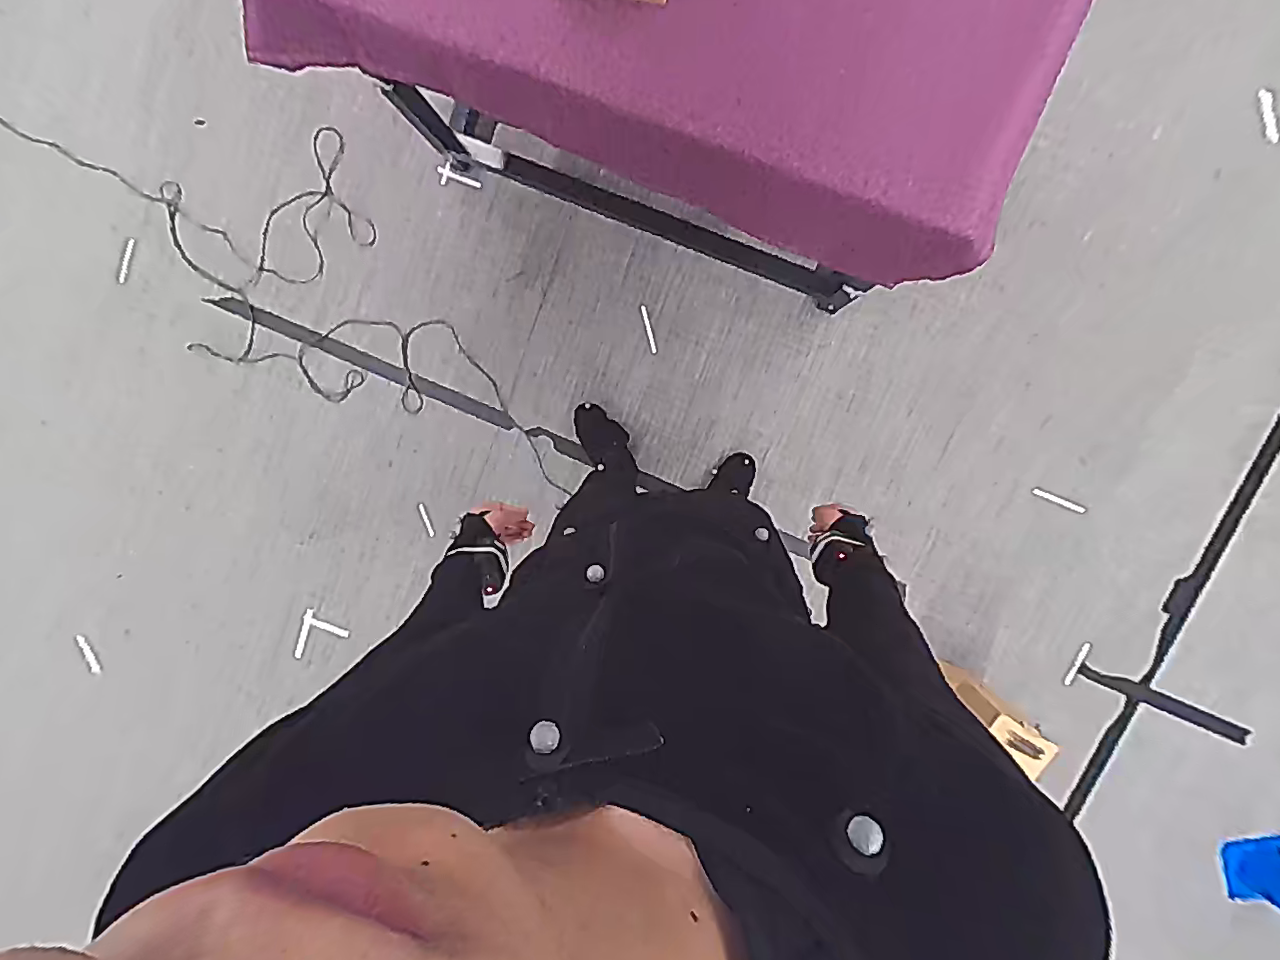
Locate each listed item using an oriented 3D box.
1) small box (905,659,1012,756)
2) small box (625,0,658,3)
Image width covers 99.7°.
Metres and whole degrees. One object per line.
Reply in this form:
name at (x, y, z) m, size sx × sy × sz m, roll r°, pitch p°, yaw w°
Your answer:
small box at (0.903, 0.642, 1.554) m, size 0.179 × 0.176 × 0.168 m, roll 26°, pitch 98°, yaw 1°
small box at (-0.037, -0.786, 0.716) m, size 0.179 × 0.176 × 0.168 m, roll 11°, pitch 98°, yaw 2°
